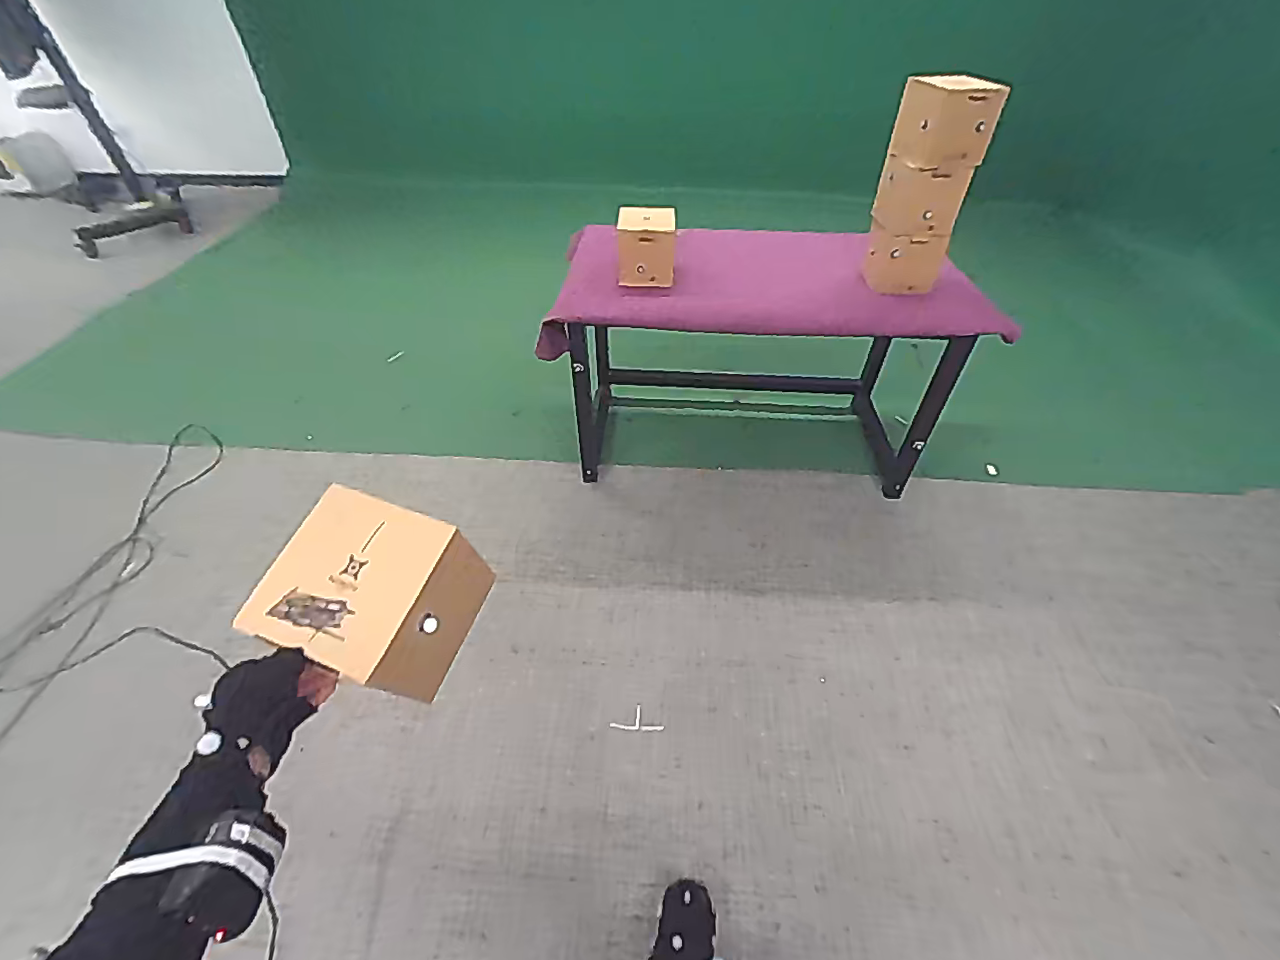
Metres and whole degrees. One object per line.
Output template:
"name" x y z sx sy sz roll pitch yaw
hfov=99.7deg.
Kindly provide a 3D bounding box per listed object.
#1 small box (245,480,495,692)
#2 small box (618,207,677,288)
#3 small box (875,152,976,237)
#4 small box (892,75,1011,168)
"small box" -0.296 0.133 0.641 0.168 0.176 0.179 19 64 11
"small box" 0.021 -0.698 1.620 0.168 0.176 0.179 2 47 1
"small box" 0.762 -0.780 1.471 0.168 0.176 0.179 0 45 1
"small box" 0.769 -0.896 1.356 0.168 0.176 0.179 -7 45 -8
